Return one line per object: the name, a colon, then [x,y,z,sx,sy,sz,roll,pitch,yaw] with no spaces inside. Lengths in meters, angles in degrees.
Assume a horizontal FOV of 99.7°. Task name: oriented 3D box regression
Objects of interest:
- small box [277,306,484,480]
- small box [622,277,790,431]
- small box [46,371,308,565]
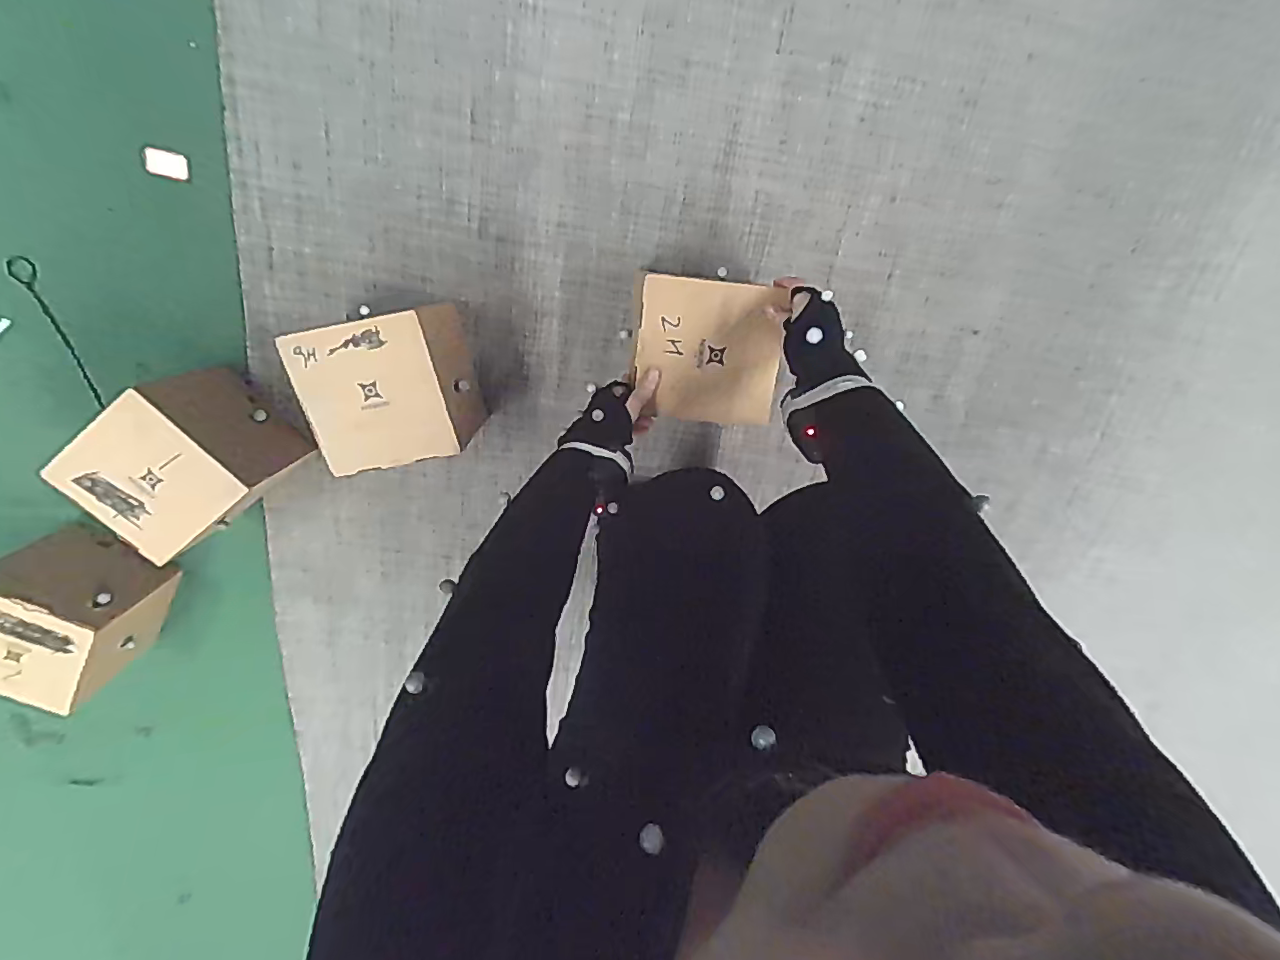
small box: [-0.320,-0.122,0.713,0.168,0.176,0.179,-11,112,0]
small box: [0.074,-0.173,0.719,0.179,0.176,0.168,4,111,-6]
small box: [-0.603,-0.024,0.733,0.179,0.176,0.168,-36,109,9]
